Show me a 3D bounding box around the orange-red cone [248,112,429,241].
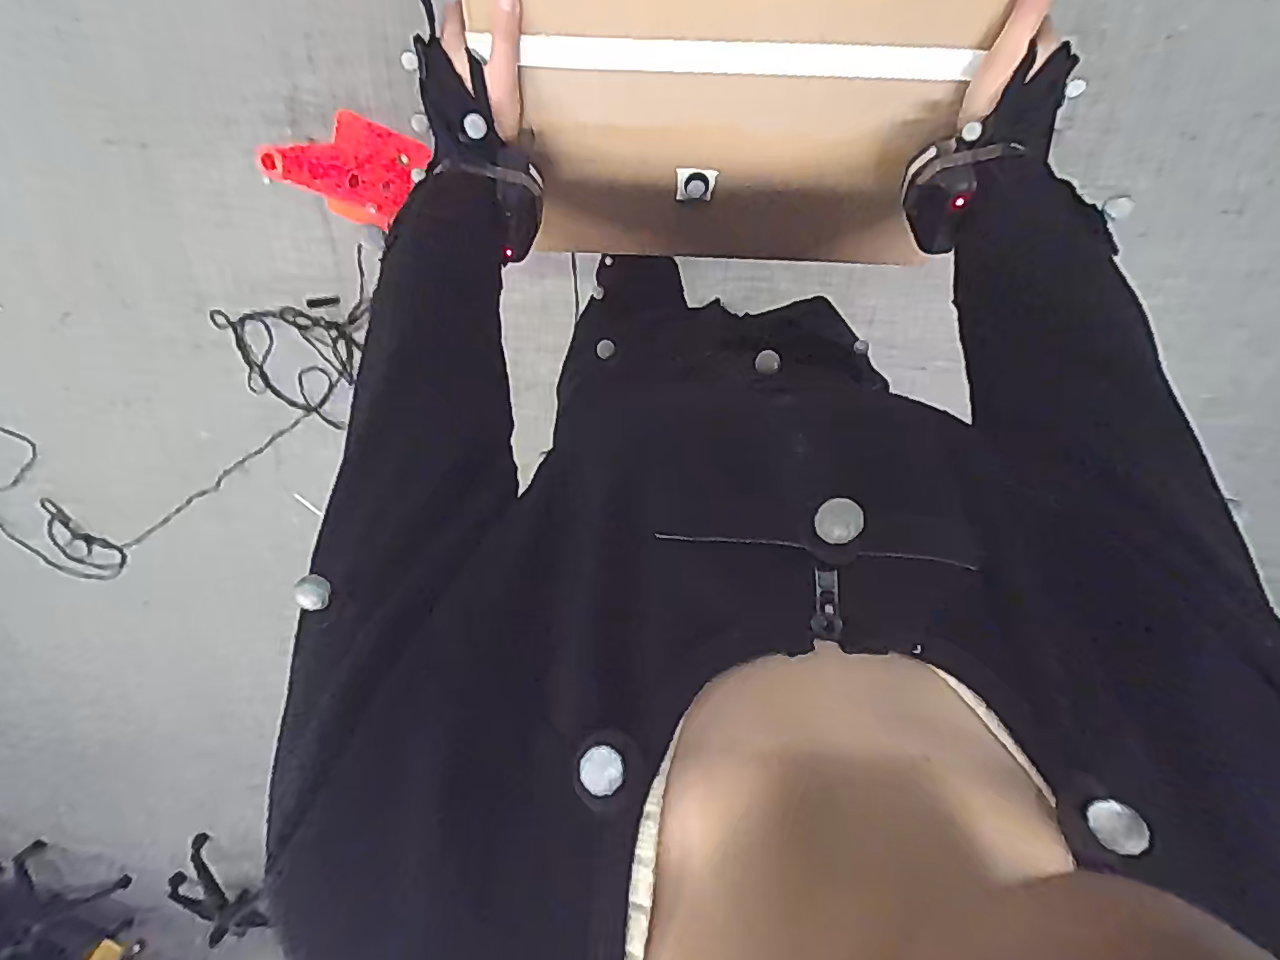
[{"bbox_3d":[-0.568,-0.565,0.982,0.199,0.360,0.198,23,113,-5],"label":"orange-red cone"}]
